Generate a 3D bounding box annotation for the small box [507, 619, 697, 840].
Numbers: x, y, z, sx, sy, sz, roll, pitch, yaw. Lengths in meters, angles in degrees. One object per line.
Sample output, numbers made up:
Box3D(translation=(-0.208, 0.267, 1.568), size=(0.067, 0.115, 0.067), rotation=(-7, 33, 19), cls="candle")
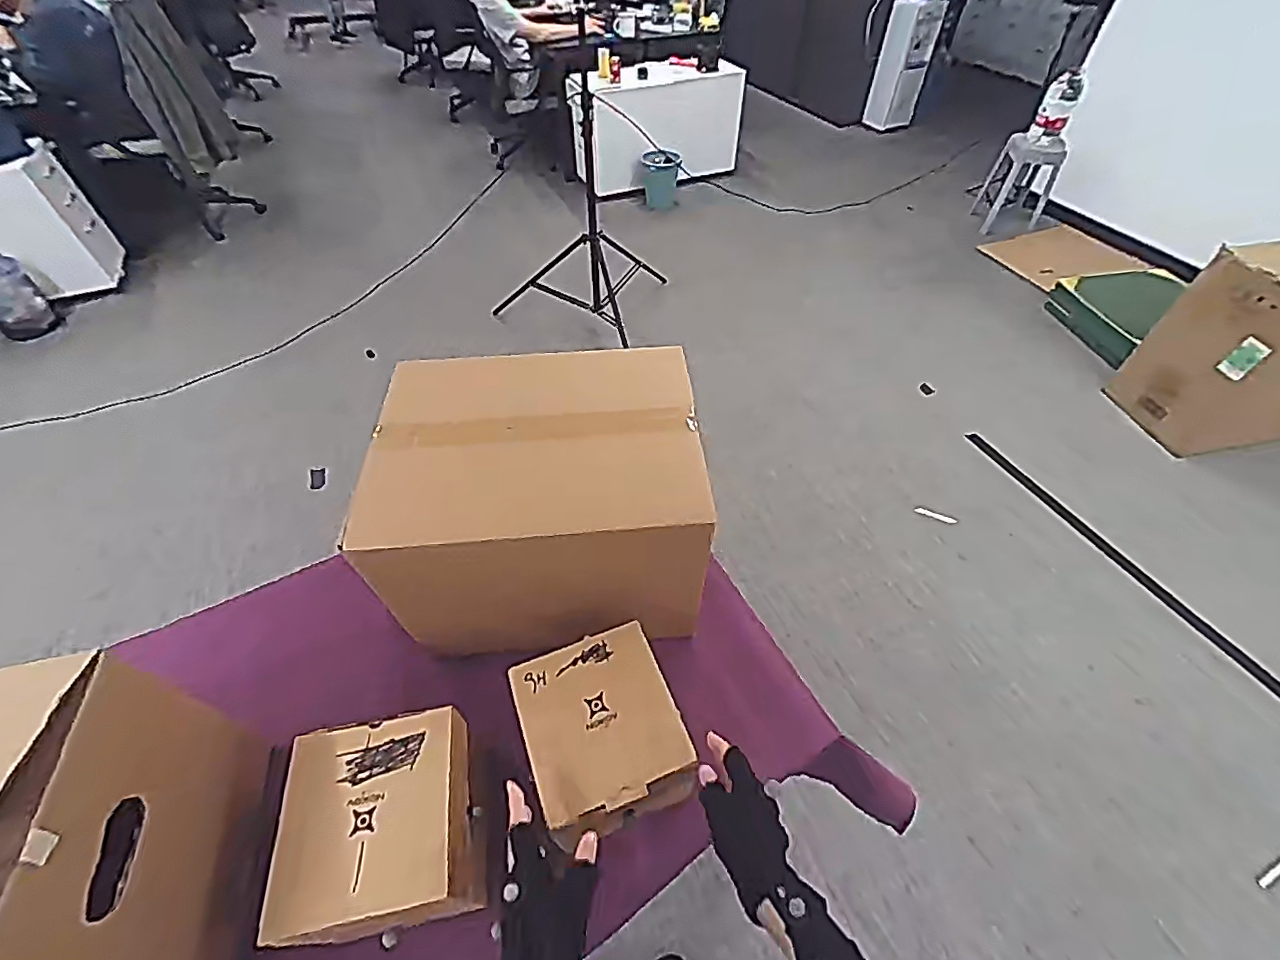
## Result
Box3D(translation=(-0.045, 0.303, 0.648), size=(0.168, 0.176, 0.179), rotation=(-17, 51, -15), cls="small box")
